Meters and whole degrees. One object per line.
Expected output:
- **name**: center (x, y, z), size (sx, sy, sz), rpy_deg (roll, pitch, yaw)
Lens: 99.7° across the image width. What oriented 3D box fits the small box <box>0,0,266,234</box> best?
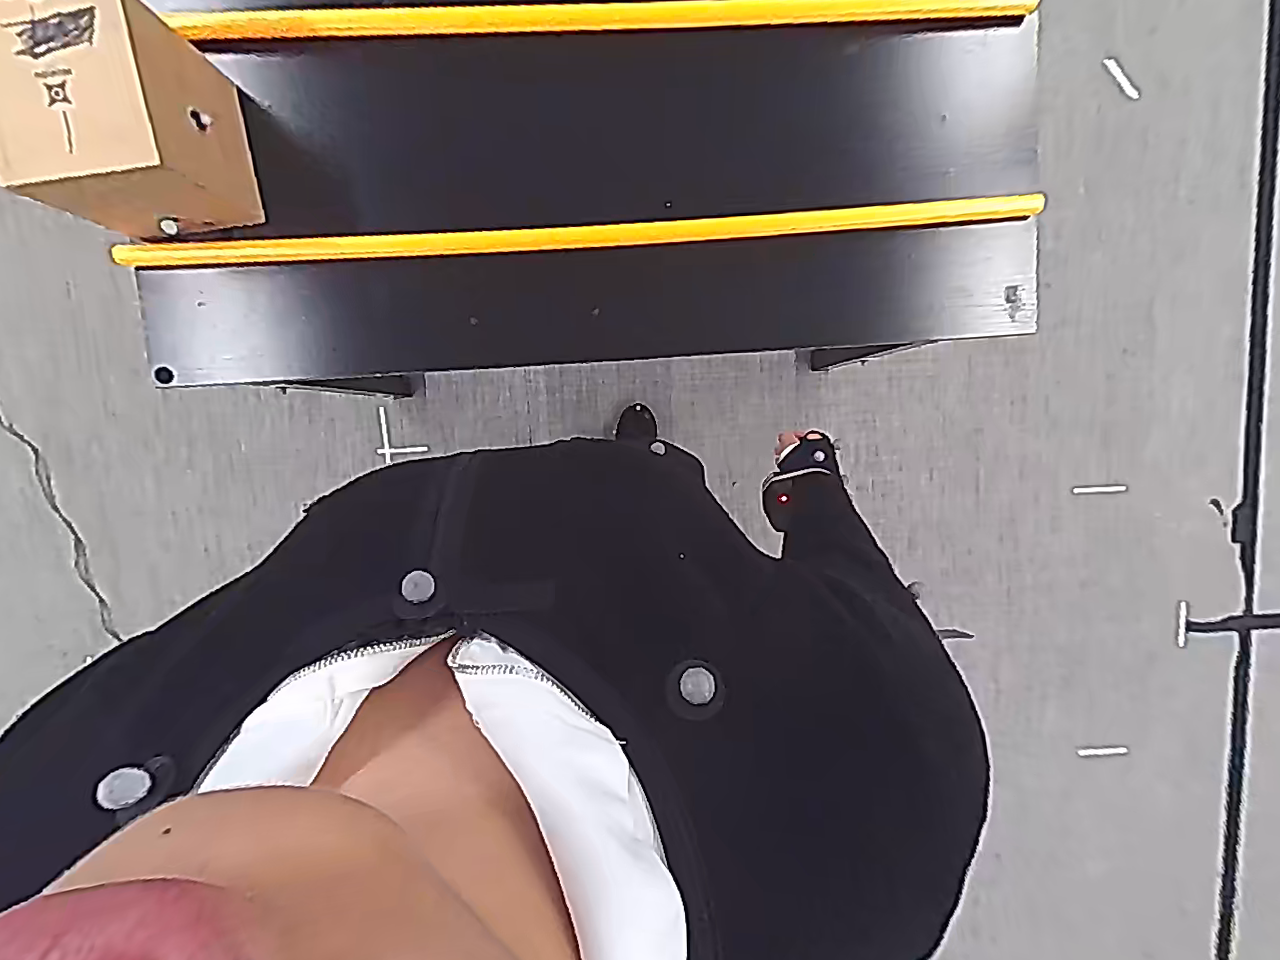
- **small box**: center (-0.573, -0.407, 0.616), size (0.168, 0.176, 0.179), rpy_deg (-9, 97, -1)
